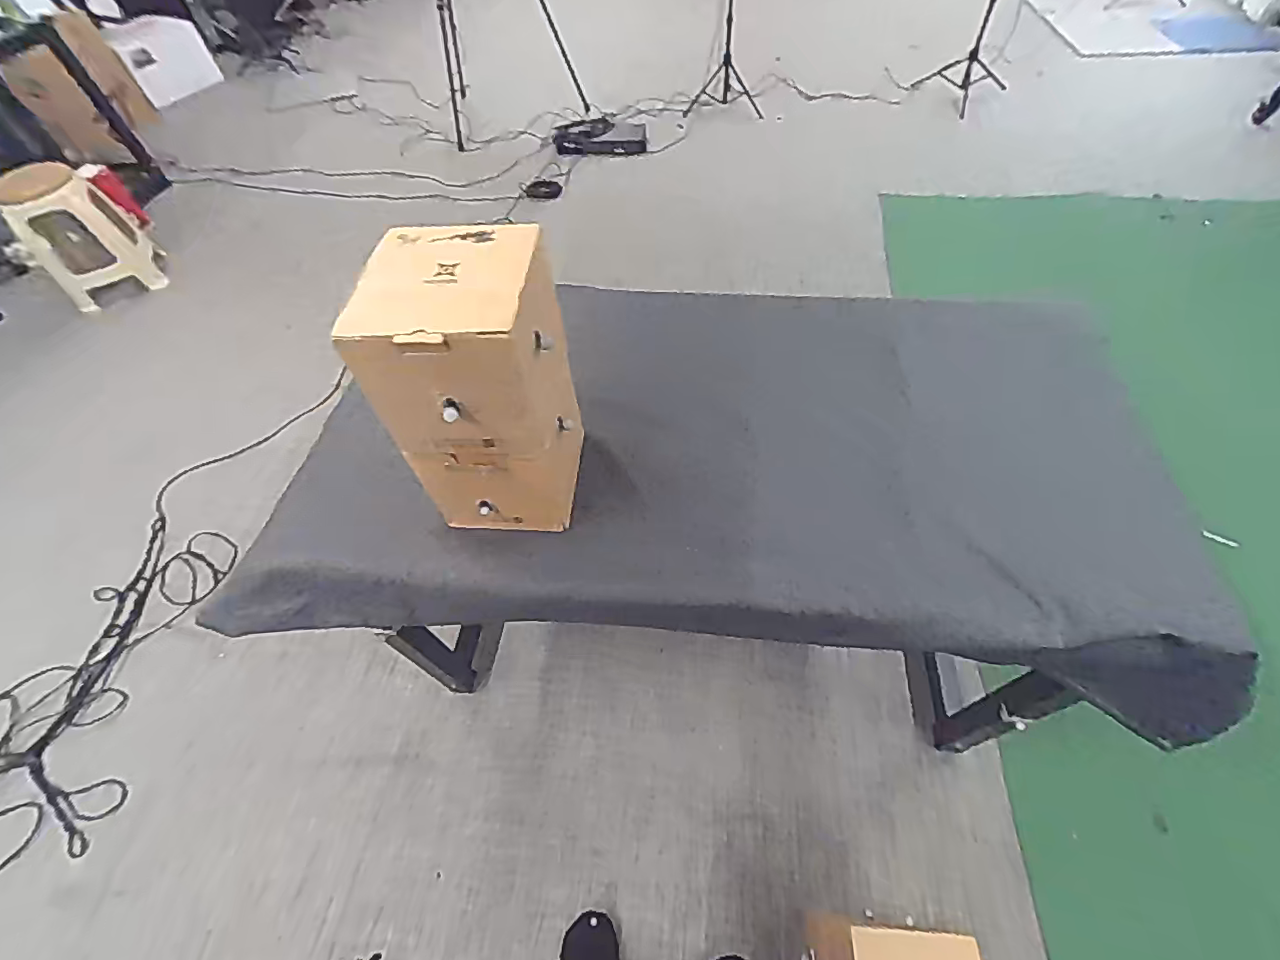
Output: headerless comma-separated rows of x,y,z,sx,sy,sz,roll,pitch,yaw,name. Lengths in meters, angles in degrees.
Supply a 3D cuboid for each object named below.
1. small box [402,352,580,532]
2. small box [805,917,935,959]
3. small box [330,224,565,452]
-0.177,-0.051,0.711,0.168,0.176,0.179,1,55,5,small box
0.390,0.855,0.914,0.179,0.176,0.168,1,53,5,small box
-0.181,-0.144,0.576,0.168,0.176,0.179,0,55,4,small box
